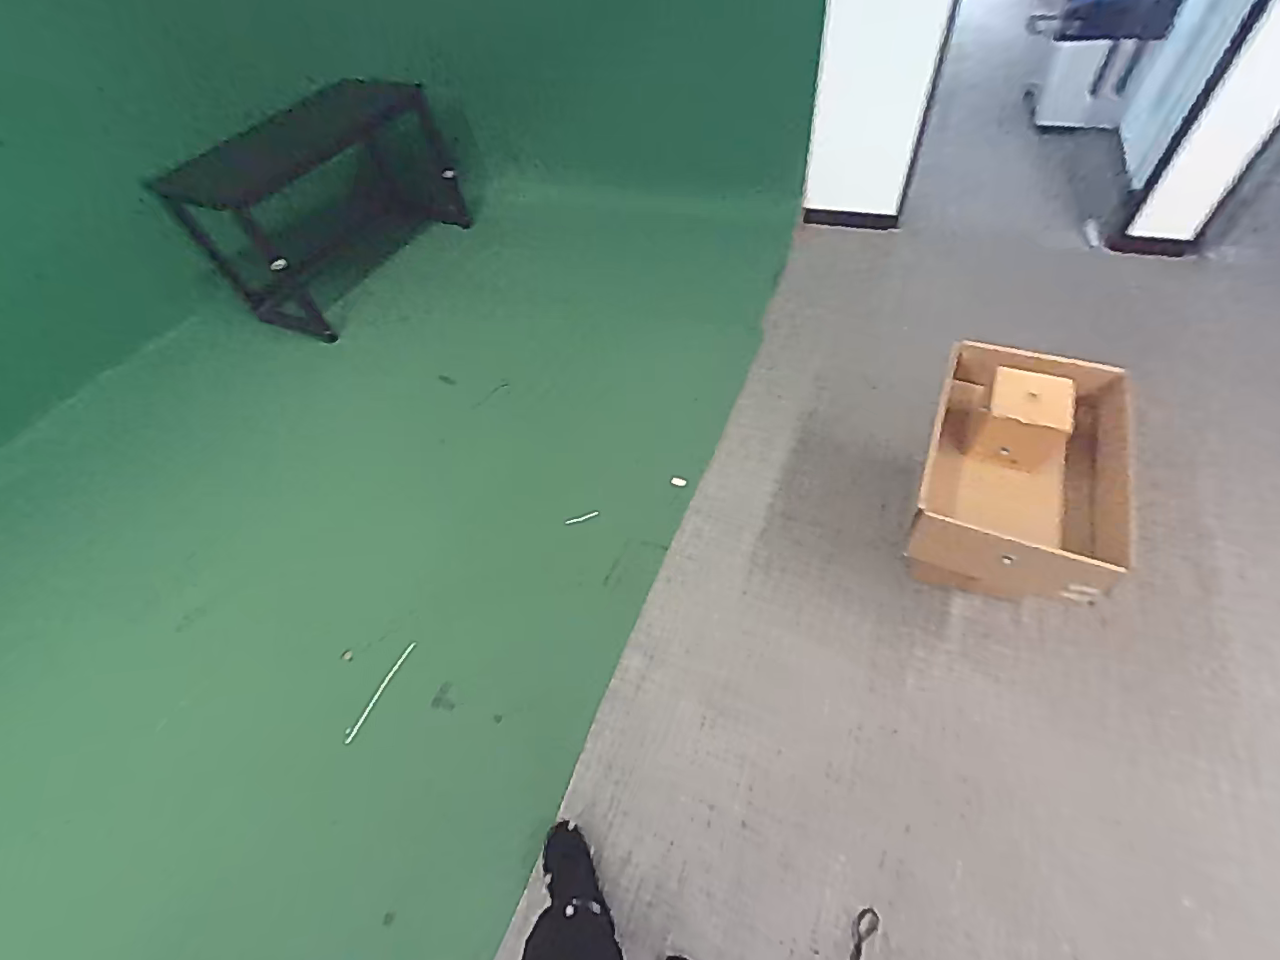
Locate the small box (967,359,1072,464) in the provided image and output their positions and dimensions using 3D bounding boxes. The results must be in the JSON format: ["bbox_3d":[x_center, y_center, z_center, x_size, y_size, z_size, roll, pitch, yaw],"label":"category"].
[{"bbox_3d":[0.943,-0.170,1.354,0.168,0.176,0.179,17,59,19],"label":"small box"}]
